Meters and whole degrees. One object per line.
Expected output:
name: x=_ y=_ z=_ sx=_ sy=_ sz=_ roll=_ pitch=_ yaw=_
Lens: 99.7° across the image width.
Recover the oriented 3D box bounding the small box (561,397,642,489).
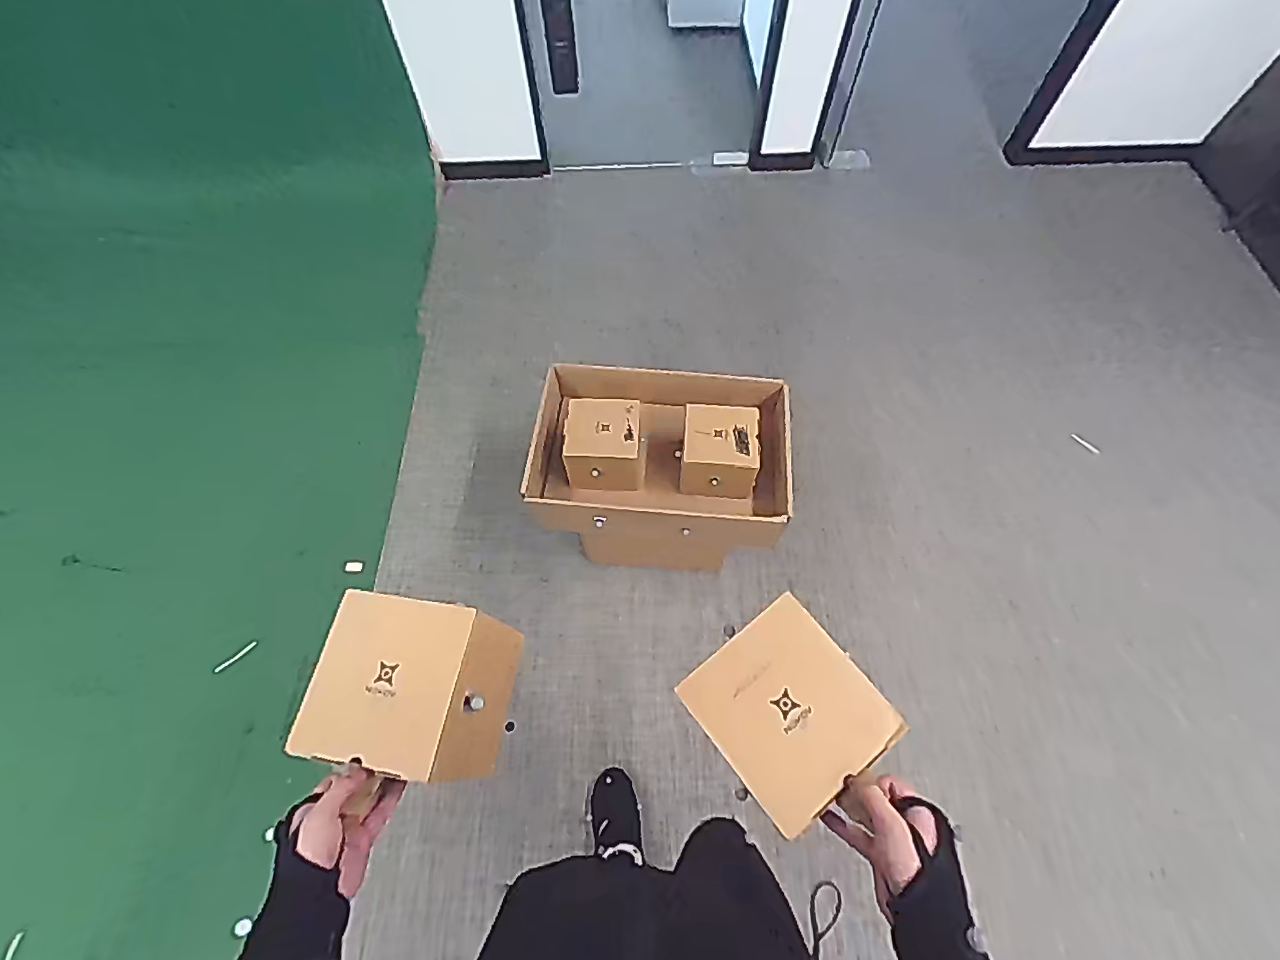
small box: x=-0.088 y=-0.087 z=1.333 sx=0.179 sy=0.176 sz=0.168 roll=2 pitch=62 yaw=2

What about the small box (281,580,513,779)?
small box: x=-0.265 y=0.235 z=0.642 sx=0.168 sy=0.176 sz=0.179 roll=7 pitch=67 yaw=9

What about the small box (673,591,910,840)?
small box: x=0.154 y=0.252 z=0.613 sx=0.168 sy=0.176 sz=0.179 roll=-36 pitch=71 yaw=-9
